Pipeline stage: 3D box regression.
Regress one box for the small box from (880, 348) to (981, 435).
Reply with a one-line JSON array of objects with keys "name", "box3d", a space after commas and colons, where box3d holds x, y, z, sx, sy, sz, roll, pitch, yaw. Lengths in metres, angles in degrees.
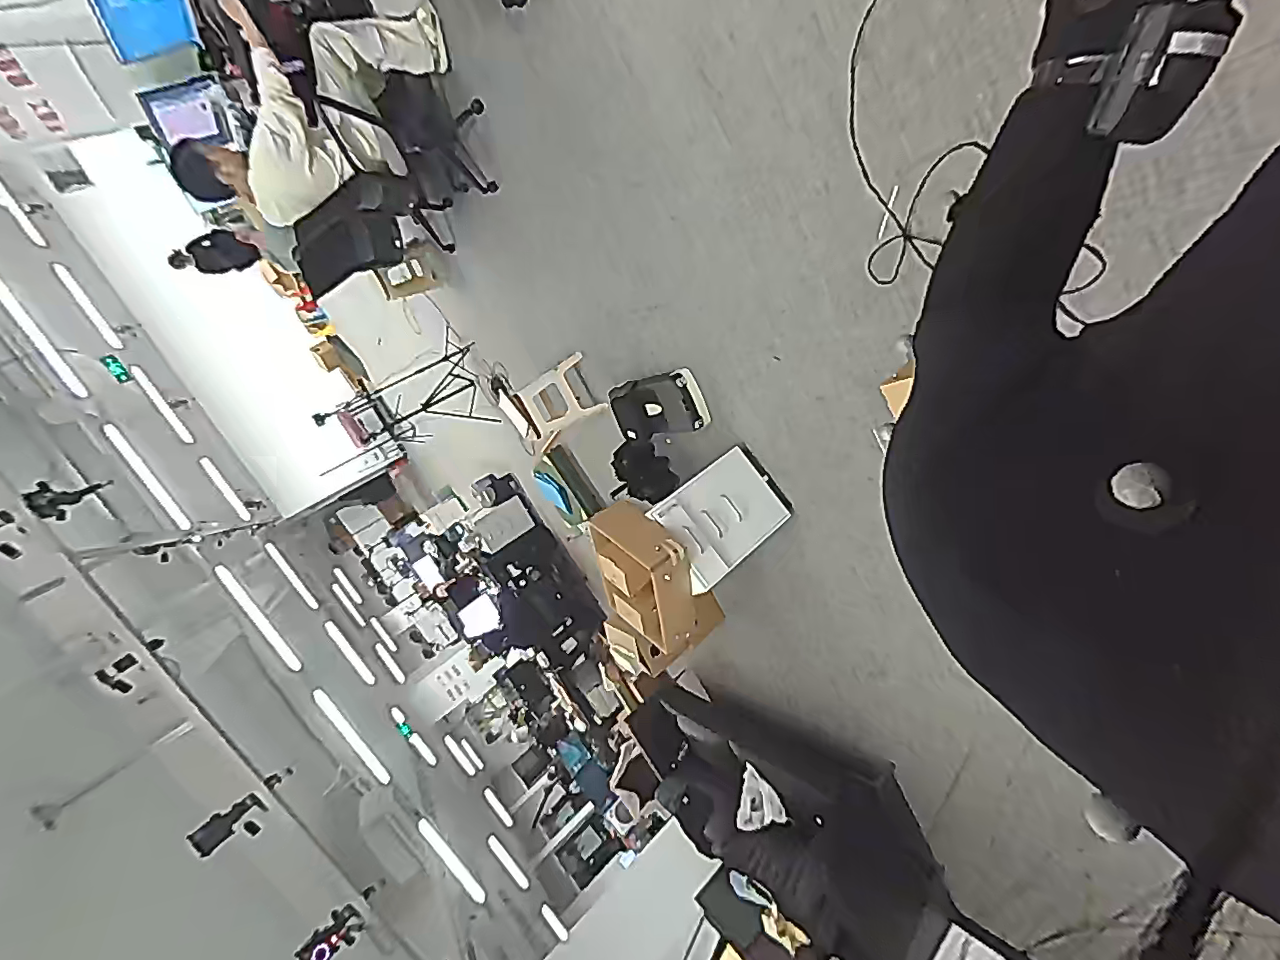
[{"name": "small box", "box3d": [0.828, -0.250, 1.530, 0.168, 0.176, 0.179, 59, 154, -10]}]
